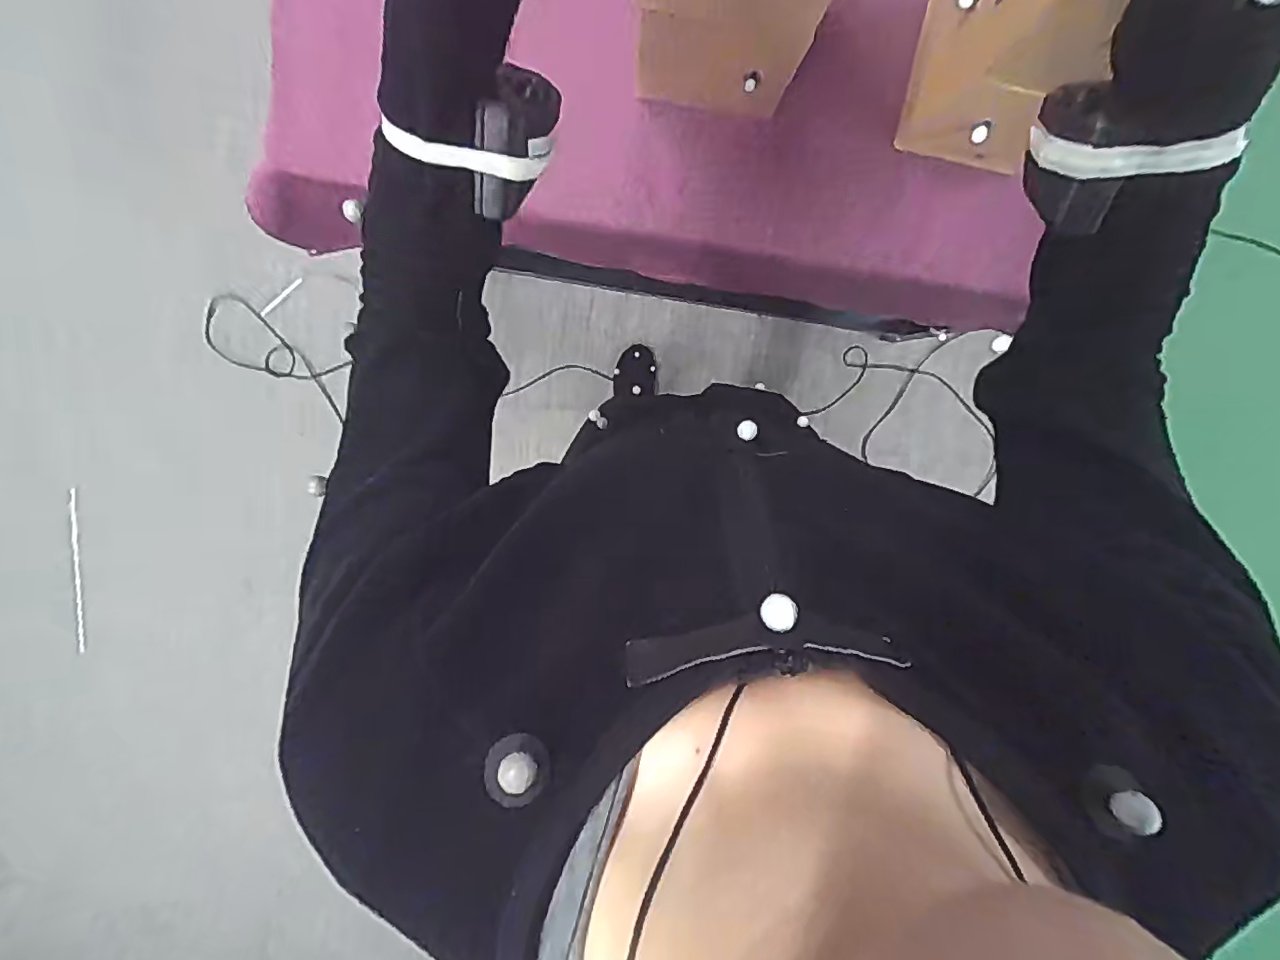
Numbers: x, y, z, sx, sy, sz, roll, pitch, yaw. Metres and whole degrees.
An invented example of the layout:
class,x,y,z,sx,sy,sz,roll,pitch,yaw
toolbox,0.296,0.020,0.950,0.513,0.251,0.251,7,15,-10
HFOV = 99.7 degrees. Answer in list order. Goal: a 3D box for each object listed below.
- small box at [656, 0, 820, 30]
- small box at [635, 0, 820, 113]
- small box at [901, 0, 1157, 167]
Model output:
class,x,y,z,sx,sy,sz,roll,pitch,yaw
small box,0.095,-0.507,0.428,0.179,0.176,0.168,9,99,-3
small box,0.094,-0.537,0.590,0.179,0.176,0.168,8,99,-3
small box,0.425,-0.486,0.610,0.168,0.176,0.179,10,99,-3
